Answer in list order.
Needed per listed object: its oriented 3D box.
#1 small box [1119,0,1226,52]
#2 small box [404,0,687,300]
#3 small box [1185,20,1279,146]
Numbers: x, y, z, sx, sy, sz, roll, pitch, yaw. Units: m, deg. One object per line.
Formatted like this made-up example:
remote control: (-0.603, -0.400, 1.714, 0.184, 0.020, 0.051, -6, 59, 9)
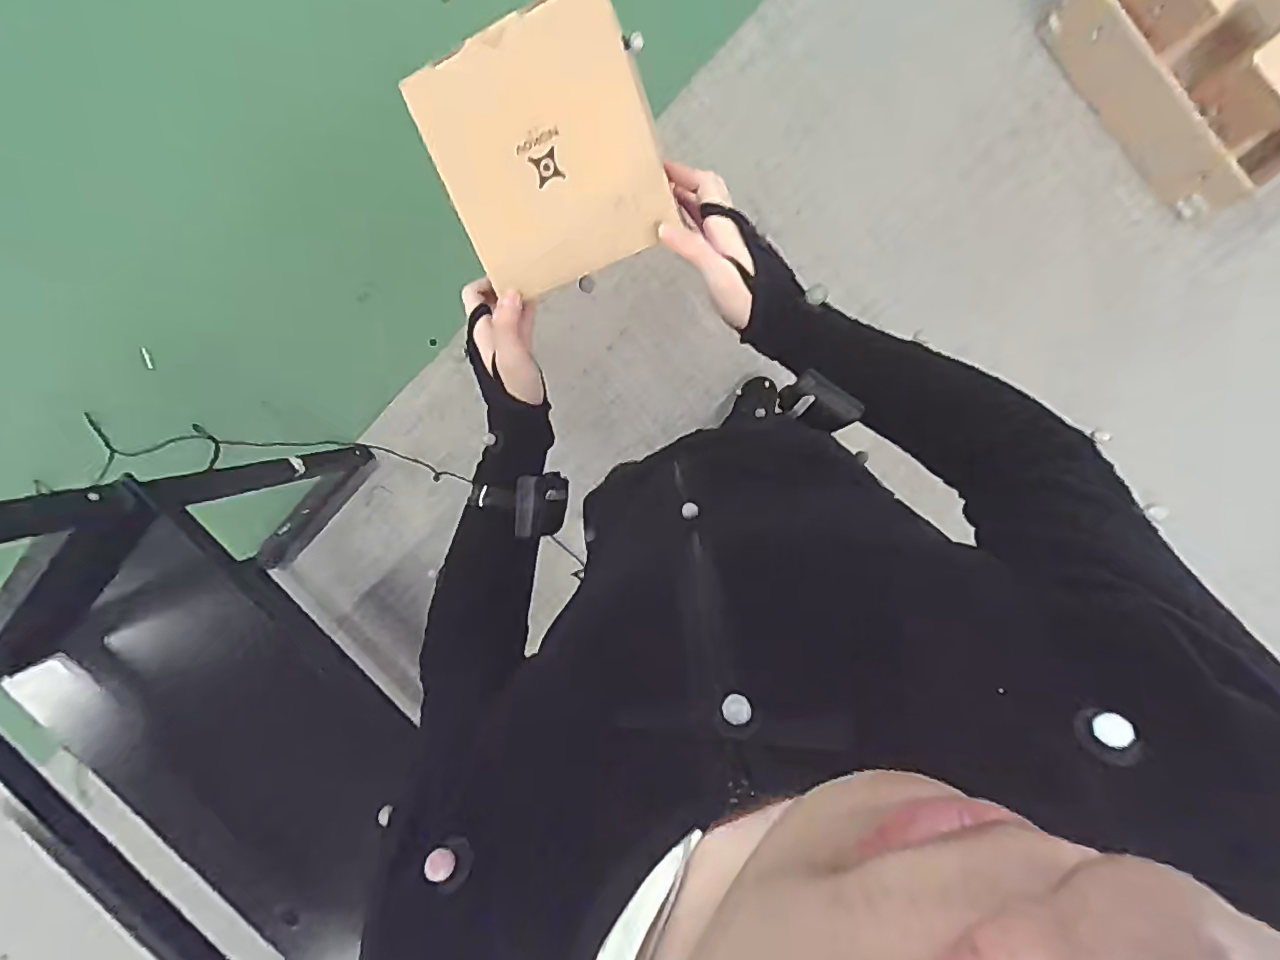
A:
small box: (1.201, -1.093, 1.168, 0.179, 0.176, 0.168, -41, 94, 11)
small box: (-0.060, -0.281, 0.477, 0.168, 0.176, 0.179, -17, 112, 13)
small box: (1.383, -0.888, 1.182, 0.179, 0.176, 0.168, -41, 91, 12)
